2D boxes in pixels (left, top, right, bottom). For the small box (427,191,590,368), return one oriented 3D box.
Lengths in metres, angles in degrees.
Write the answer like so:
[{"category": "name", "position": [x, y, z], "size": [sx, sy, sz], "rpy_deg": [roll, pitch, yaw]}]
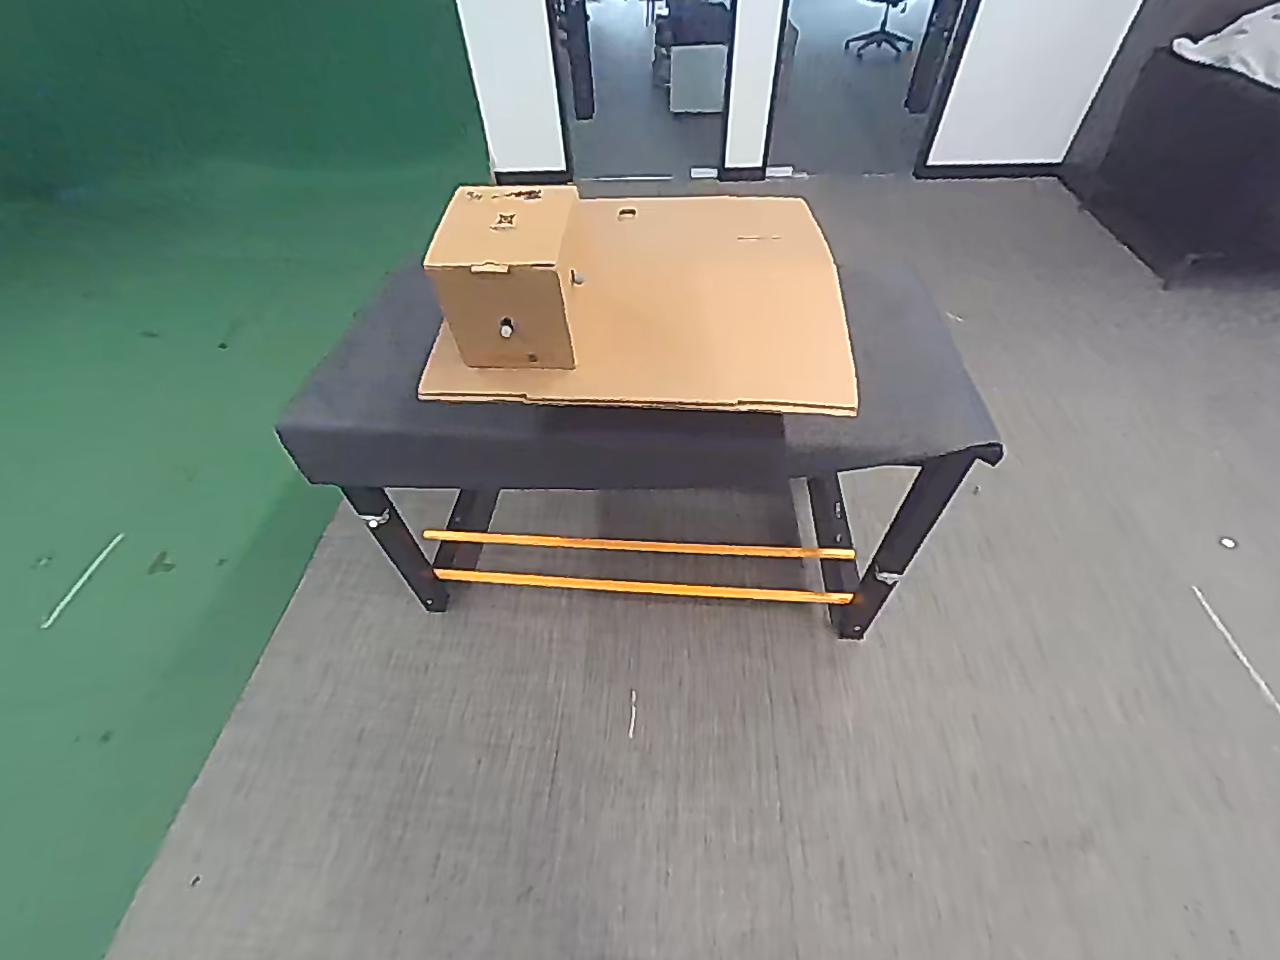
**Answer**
[{"category": "small box", "position": [-0.167, -0.273, 0.755], "size": [0.168, 0.176, 0.179], "rpy_deg": [2, 58, 4]}]
